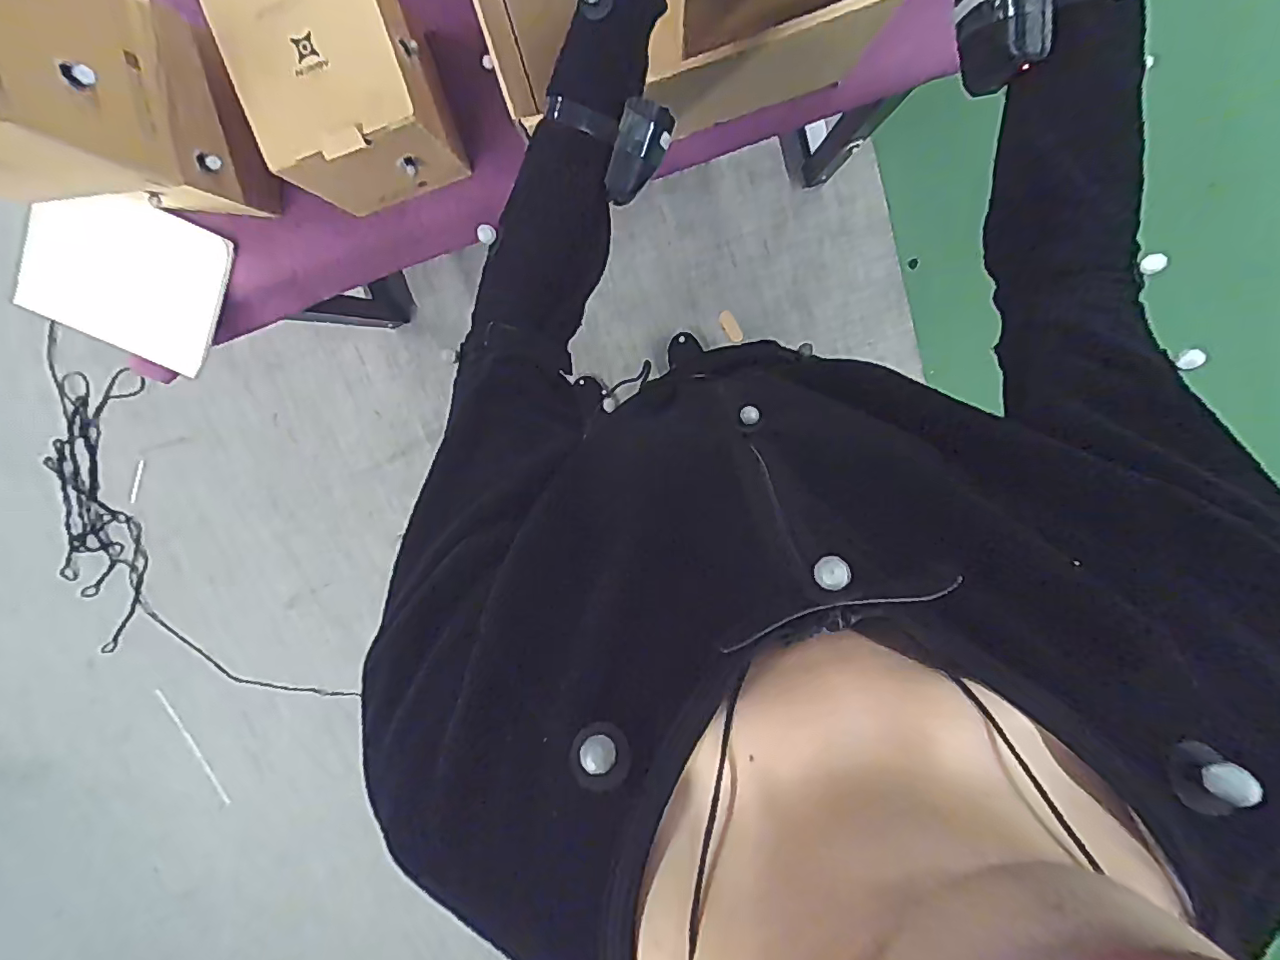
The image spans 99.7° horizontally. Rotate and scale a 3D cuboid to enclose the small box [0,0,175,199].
[{"bbox_3d":[-0.556,-0.358,0.466,0.179,0.176,0.168,-4,103,4],"label":"small box"}]
